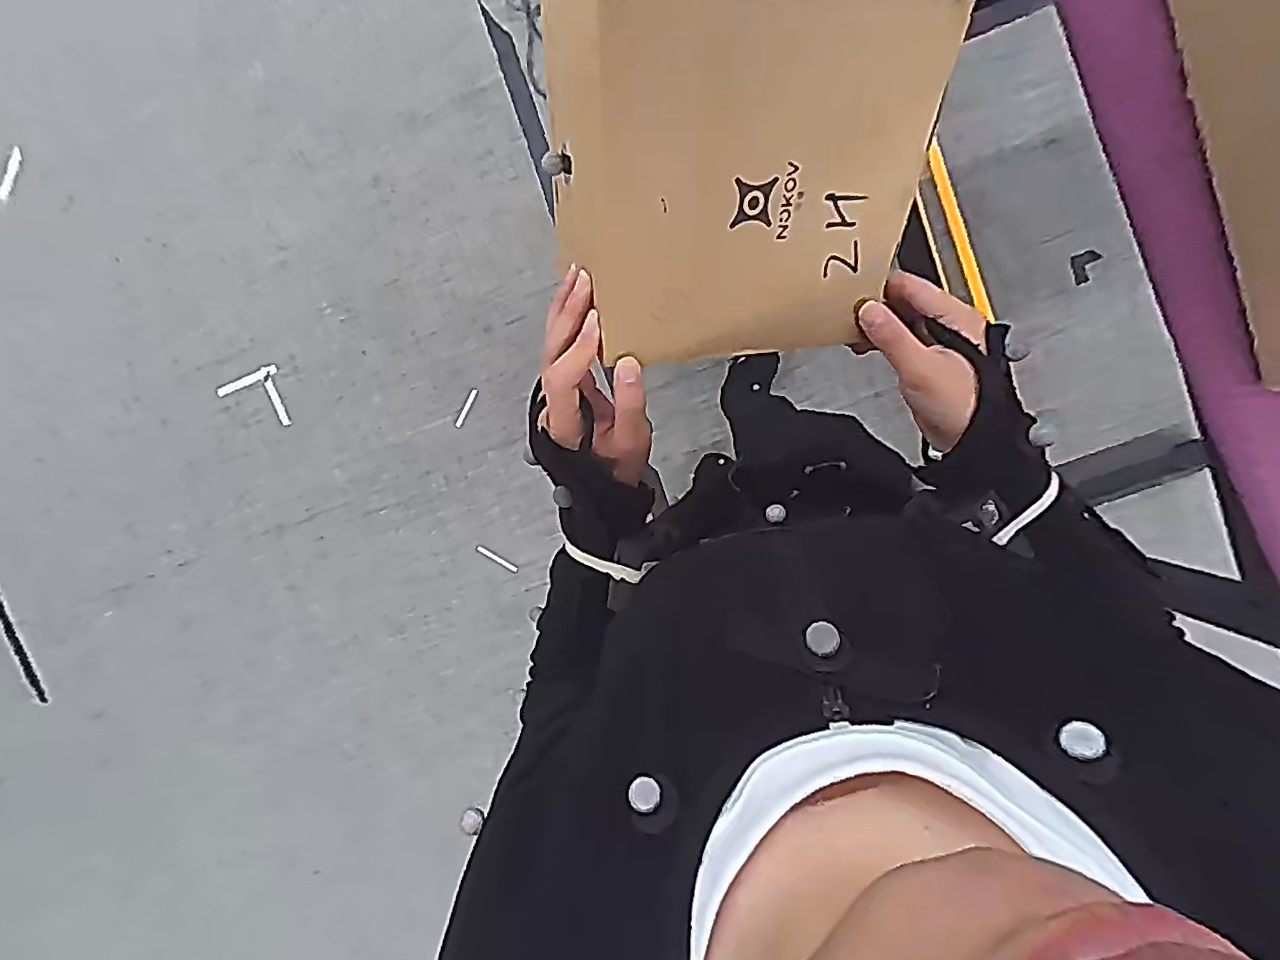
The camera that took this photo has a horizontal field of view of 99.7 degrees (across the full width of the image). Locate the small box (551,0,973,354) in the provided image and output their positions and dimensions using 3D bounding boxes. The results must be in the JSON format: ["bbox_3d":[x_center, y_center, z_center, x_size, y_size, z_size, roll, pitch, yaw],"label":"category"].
[{"bbox_3d":[0.043,-0.194,0.331,0.179,0.176,0.168,-9,131,-13],"label":"small box"}]
